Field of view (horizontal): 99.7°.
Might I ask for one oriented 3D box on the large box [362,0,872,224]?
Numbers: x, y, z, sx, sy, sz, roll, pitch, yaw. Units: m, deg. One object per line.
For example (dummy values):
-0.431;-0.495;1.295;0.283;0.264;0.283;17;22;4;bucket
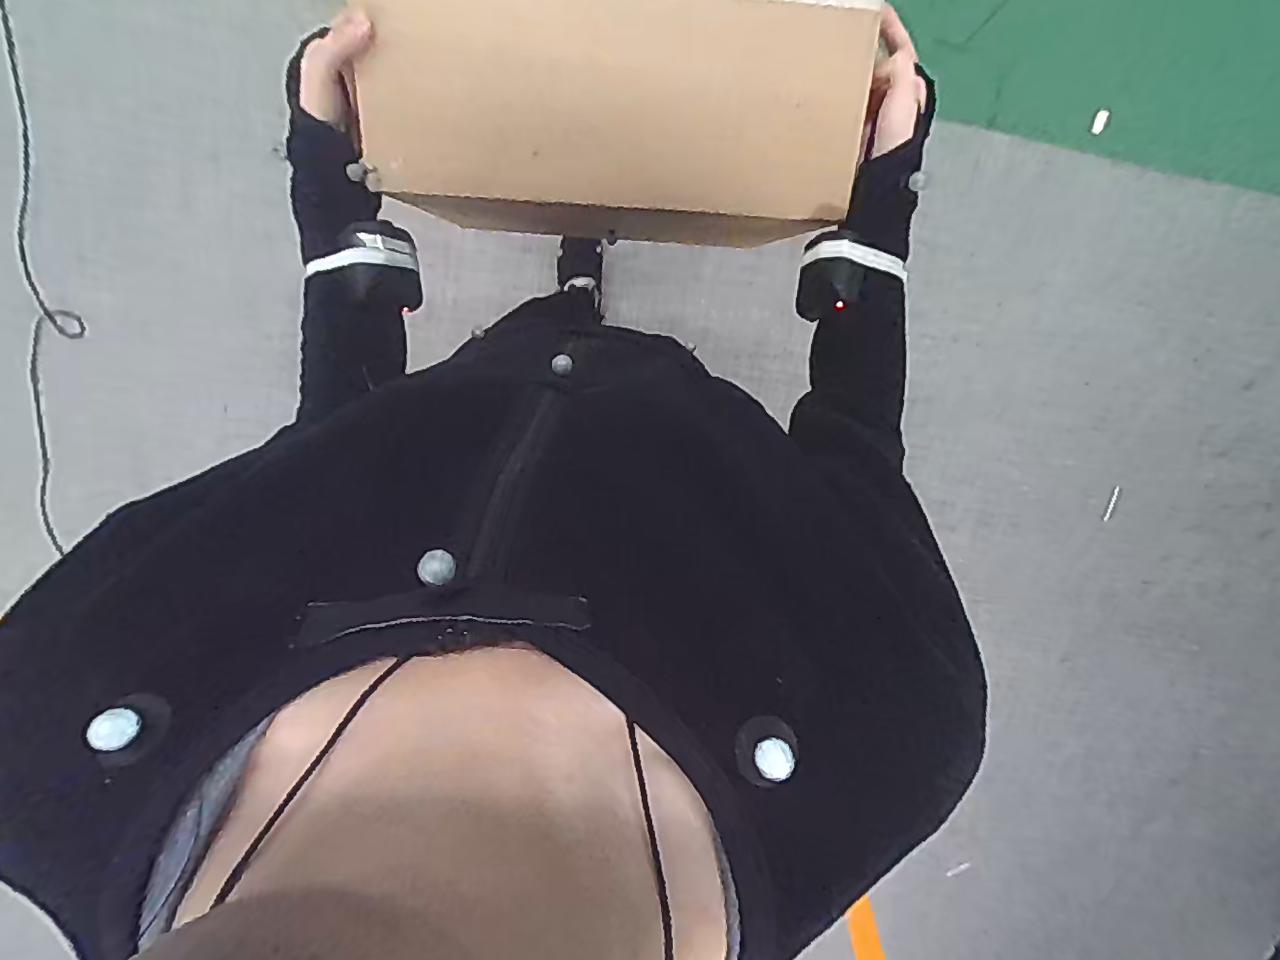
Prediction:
-0.018;-0.446;0.549;0.408;0.320;0.320;2;110;-4;large box
